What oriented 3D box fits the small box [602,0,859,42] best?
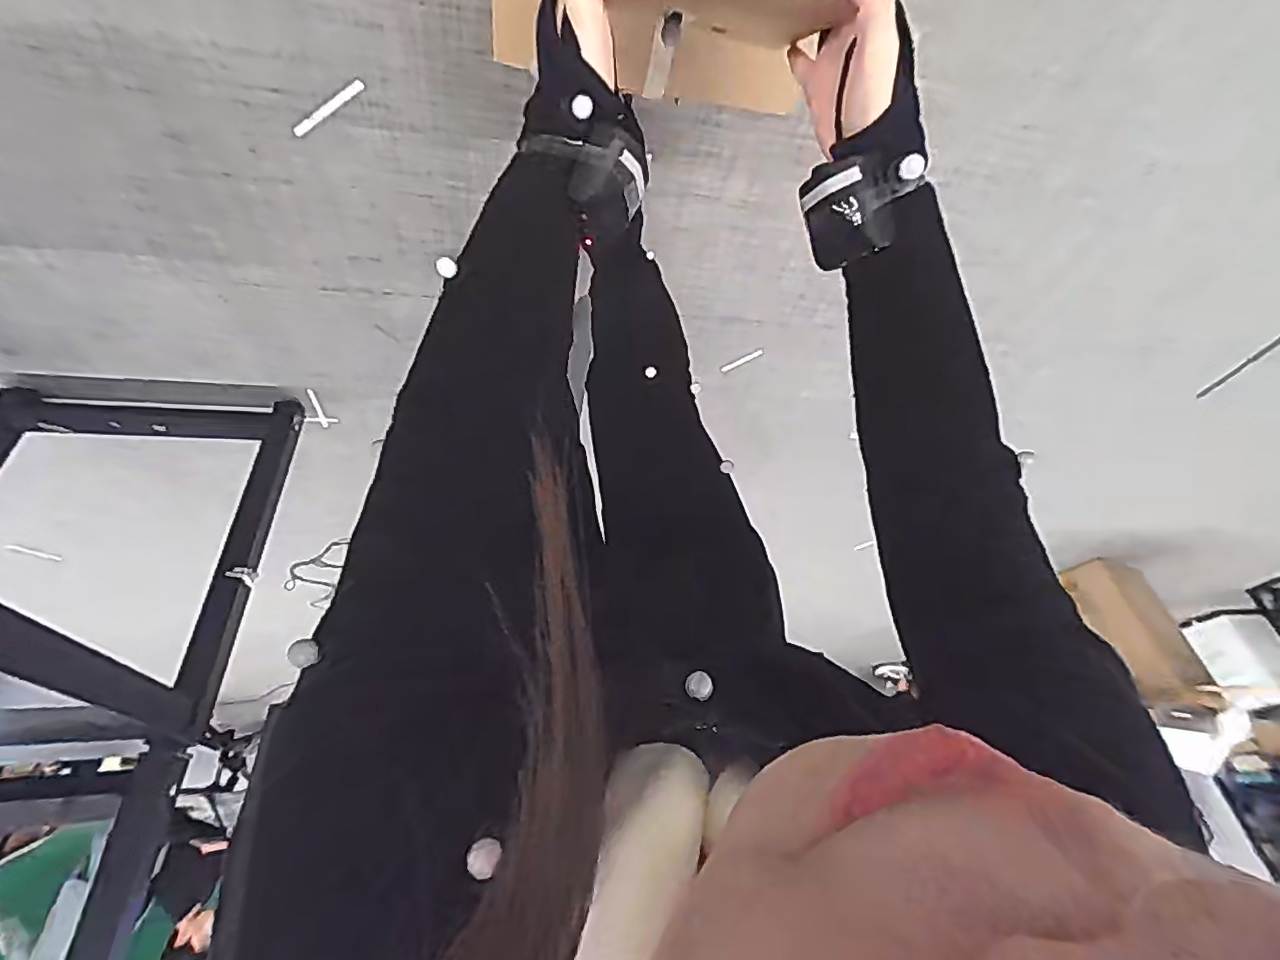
[{"bbox_3d":[0.060,-0.400,0.320,0.168,0.176,0.179,4,120,-11],"label":"small box"}]

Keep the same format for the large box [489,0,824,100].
[{"bbox_3d":[0.032,-0.636,0.466,0.320,0.320,0.408,1,145,-13],"label":"large box"}]
